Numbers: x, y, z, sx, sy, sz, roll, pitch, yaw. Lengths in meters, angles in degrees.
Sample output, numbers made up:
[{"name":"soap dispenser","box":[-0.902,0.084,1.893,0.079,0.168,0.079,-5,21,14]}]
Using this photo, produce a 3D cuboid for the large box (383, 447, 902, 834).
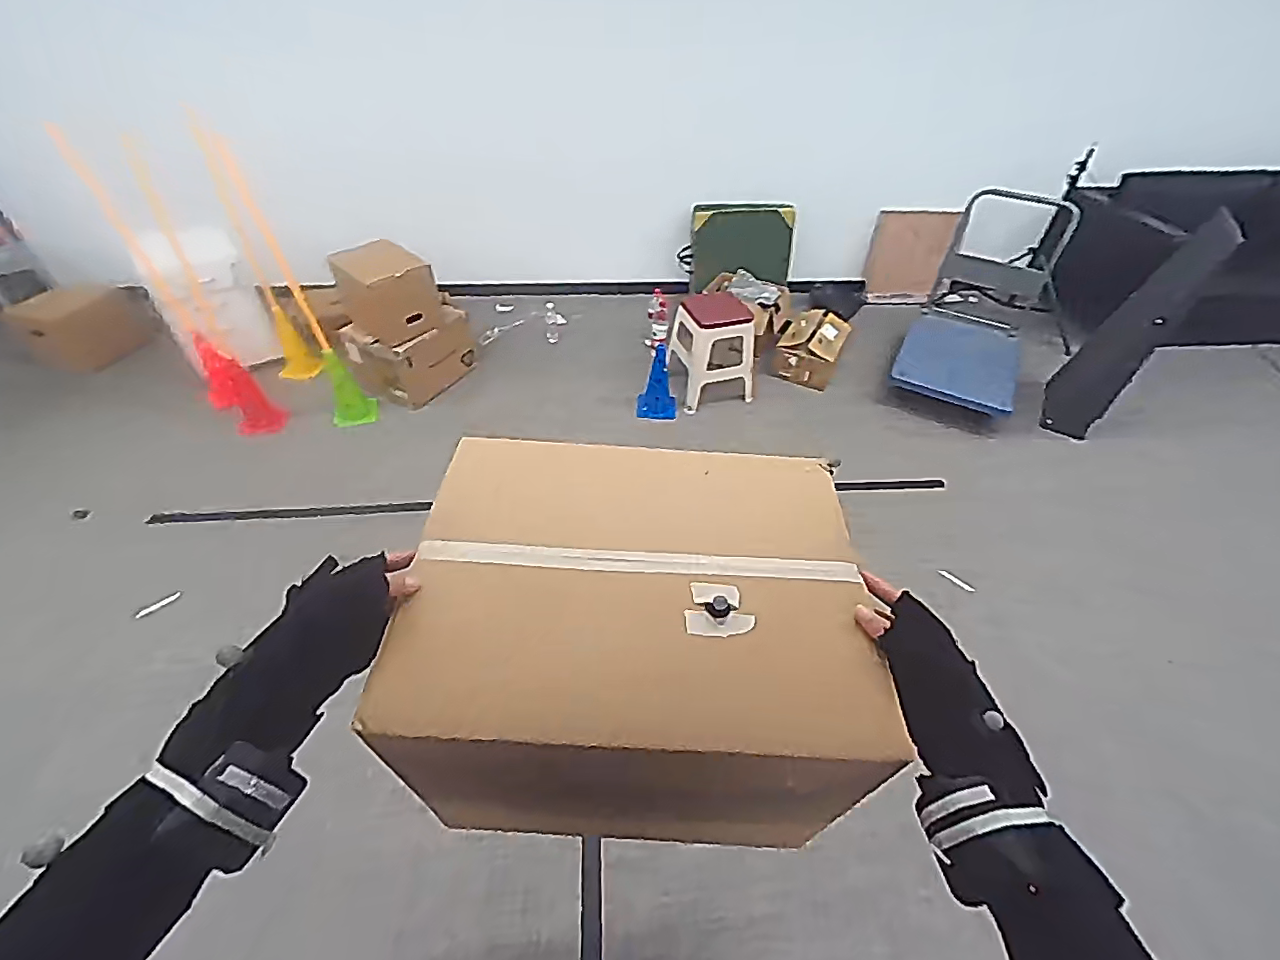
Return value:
[{"name":"large box","box":[-0.002,0.185,0.614,0.408,0.320,0.320,4,47,-1]}]
